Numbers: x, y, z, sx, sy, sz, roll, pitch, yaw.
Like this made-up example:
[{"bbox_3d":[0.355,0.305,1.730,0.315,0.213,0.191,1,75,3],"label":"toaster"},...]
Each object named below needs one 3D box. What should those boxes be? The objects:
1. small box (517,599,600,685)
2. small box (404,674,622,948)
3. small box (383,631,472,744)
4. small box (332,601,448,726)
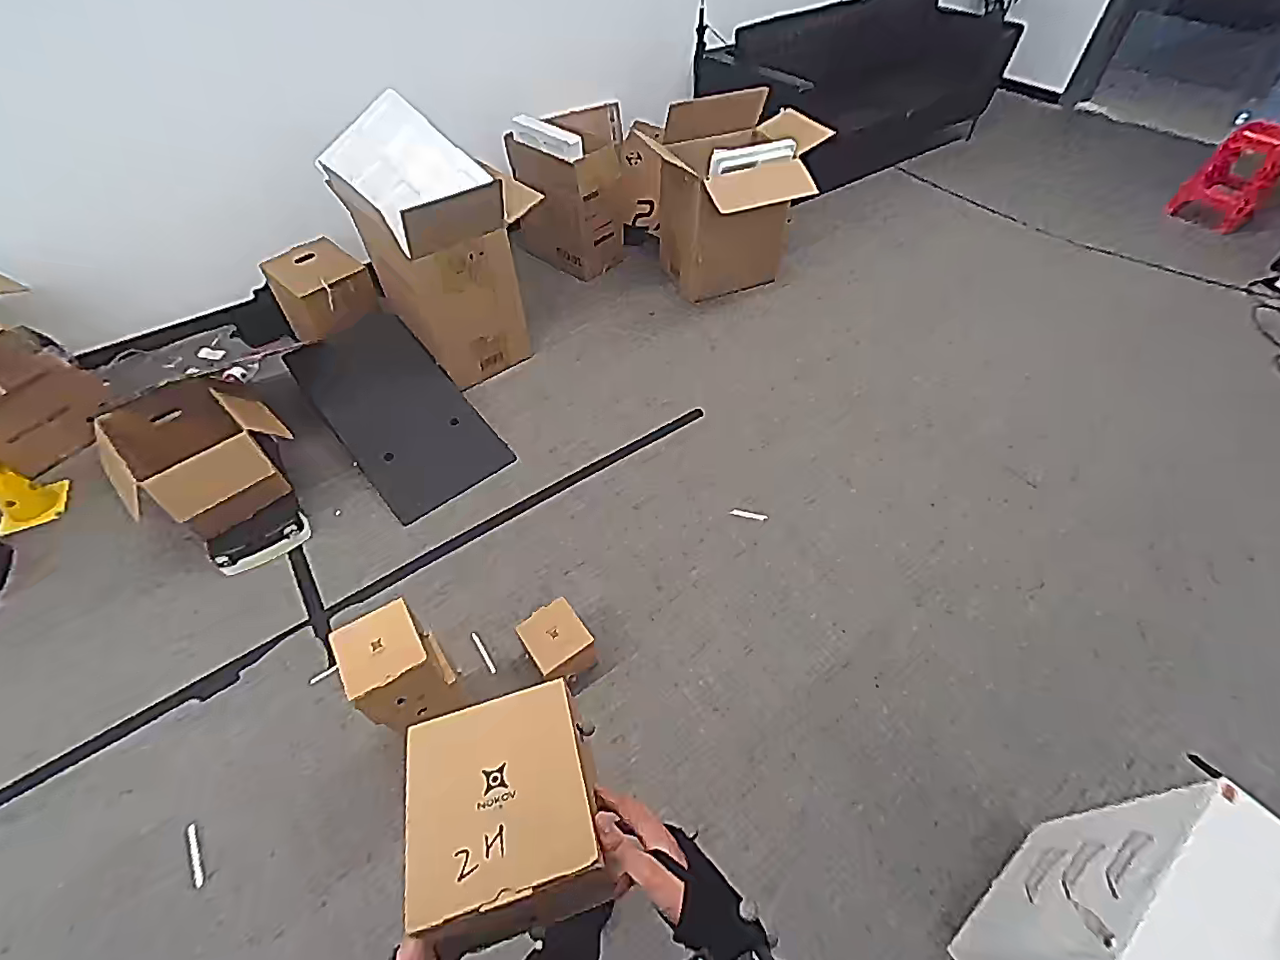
[{"bbox_3d":[-0.234,0.489,1.575,0.168,0.176,0.179,-31,58,-21],"label":"small box"},{"bbox_3d":[-0.124,0.337,0.555,0.168,0.176,0.179,-16,45,-7],"label":"small box"},{"bbox_3d":[-0.542,0.517,1.337,0.179,0.176,0.168,-28,55,-23],"label":"small box"},{"bbox_3d":[-0.555,0.414,1.213,0.168,0.176,0.179,-27,56,-21],"label":"small box"}]
